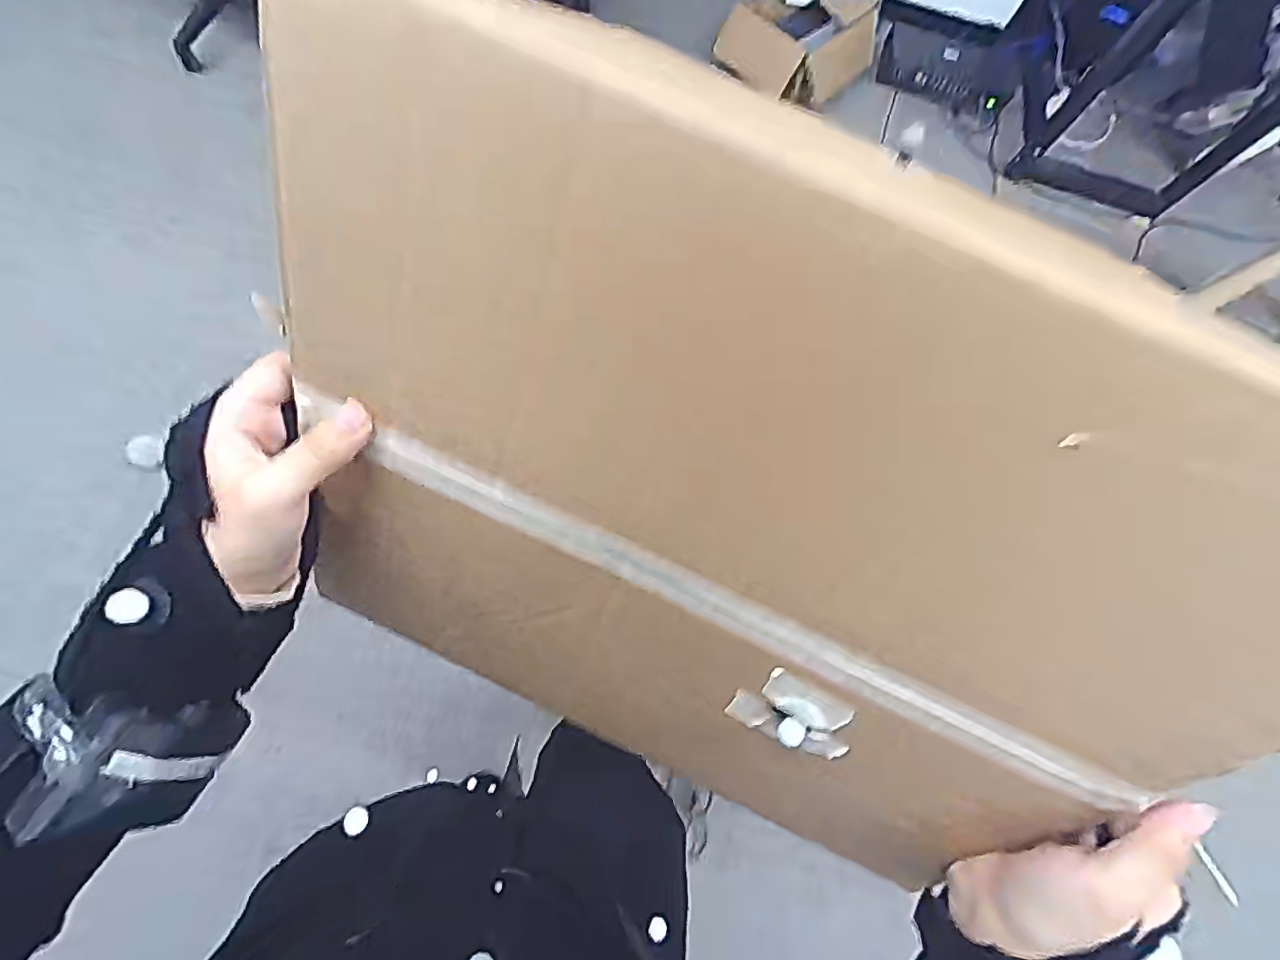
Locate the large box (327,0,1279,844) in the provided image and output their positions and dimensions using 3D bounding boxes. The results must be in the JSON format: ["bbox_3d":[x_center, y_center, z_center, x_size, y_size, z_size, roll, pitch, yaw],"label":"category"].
[{"bbox_3d":[0.085,-0.056,0.353,0.408,0.320,0.320,25,39,2],"label":"large box"}]
